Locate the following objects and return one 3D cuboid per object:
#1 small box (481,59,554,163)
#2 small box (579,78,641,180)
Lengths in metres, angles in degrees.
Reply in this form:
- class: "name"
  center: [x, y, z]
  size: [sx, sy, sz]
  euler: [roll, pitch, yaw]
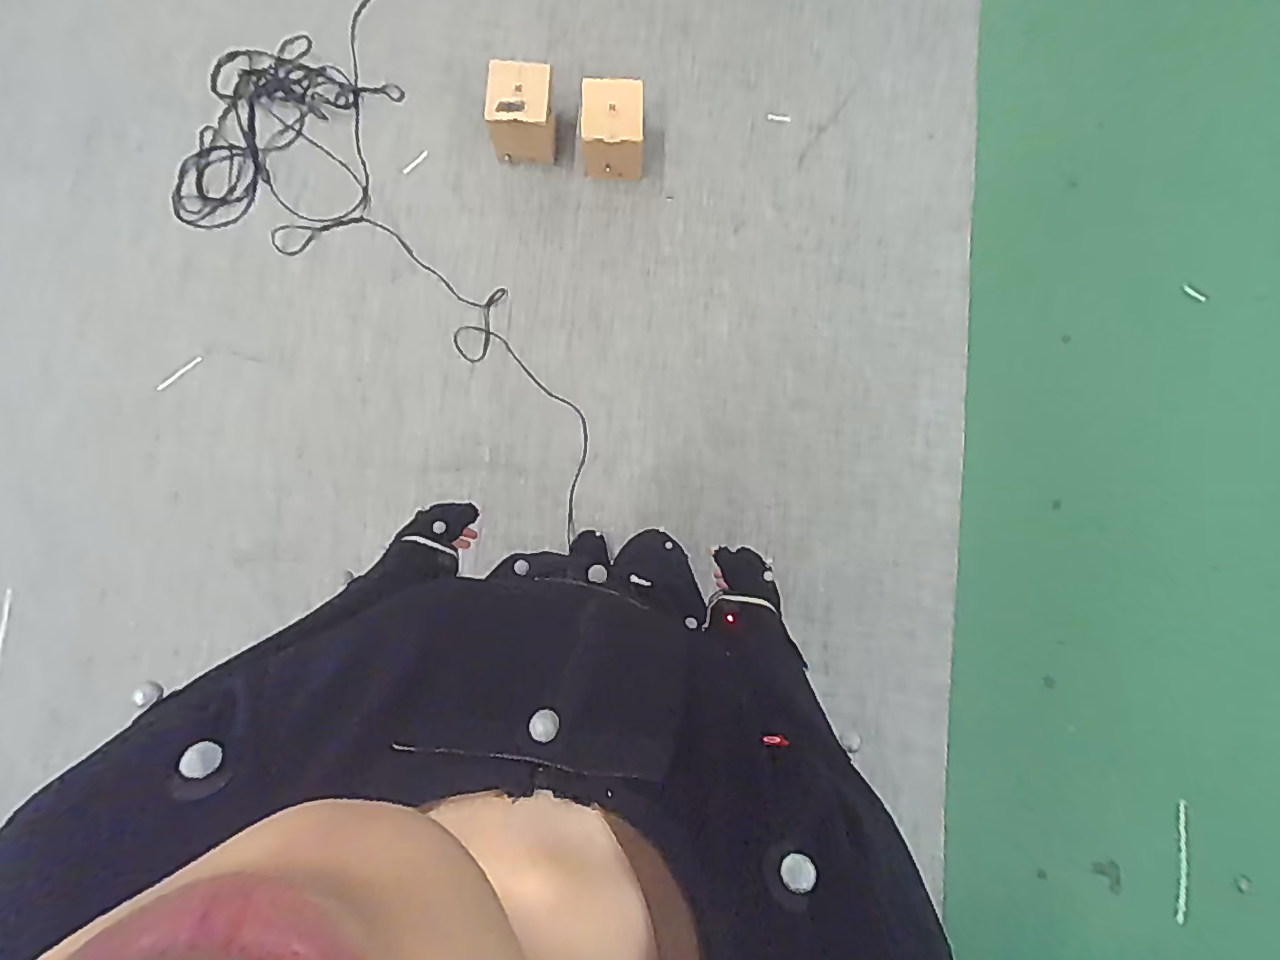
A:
- class: "small box"
  center: [-0.334, -1.022, 1.509]
  size: [0.168, 0.176, 0.179]
  euler: [3, 84, -2]
- class: "small box"
  center: [-0.083, -0.979, 1.517]
  size: [0.168, 0.176, 0.179]
  euler: [0, 86, -2]
